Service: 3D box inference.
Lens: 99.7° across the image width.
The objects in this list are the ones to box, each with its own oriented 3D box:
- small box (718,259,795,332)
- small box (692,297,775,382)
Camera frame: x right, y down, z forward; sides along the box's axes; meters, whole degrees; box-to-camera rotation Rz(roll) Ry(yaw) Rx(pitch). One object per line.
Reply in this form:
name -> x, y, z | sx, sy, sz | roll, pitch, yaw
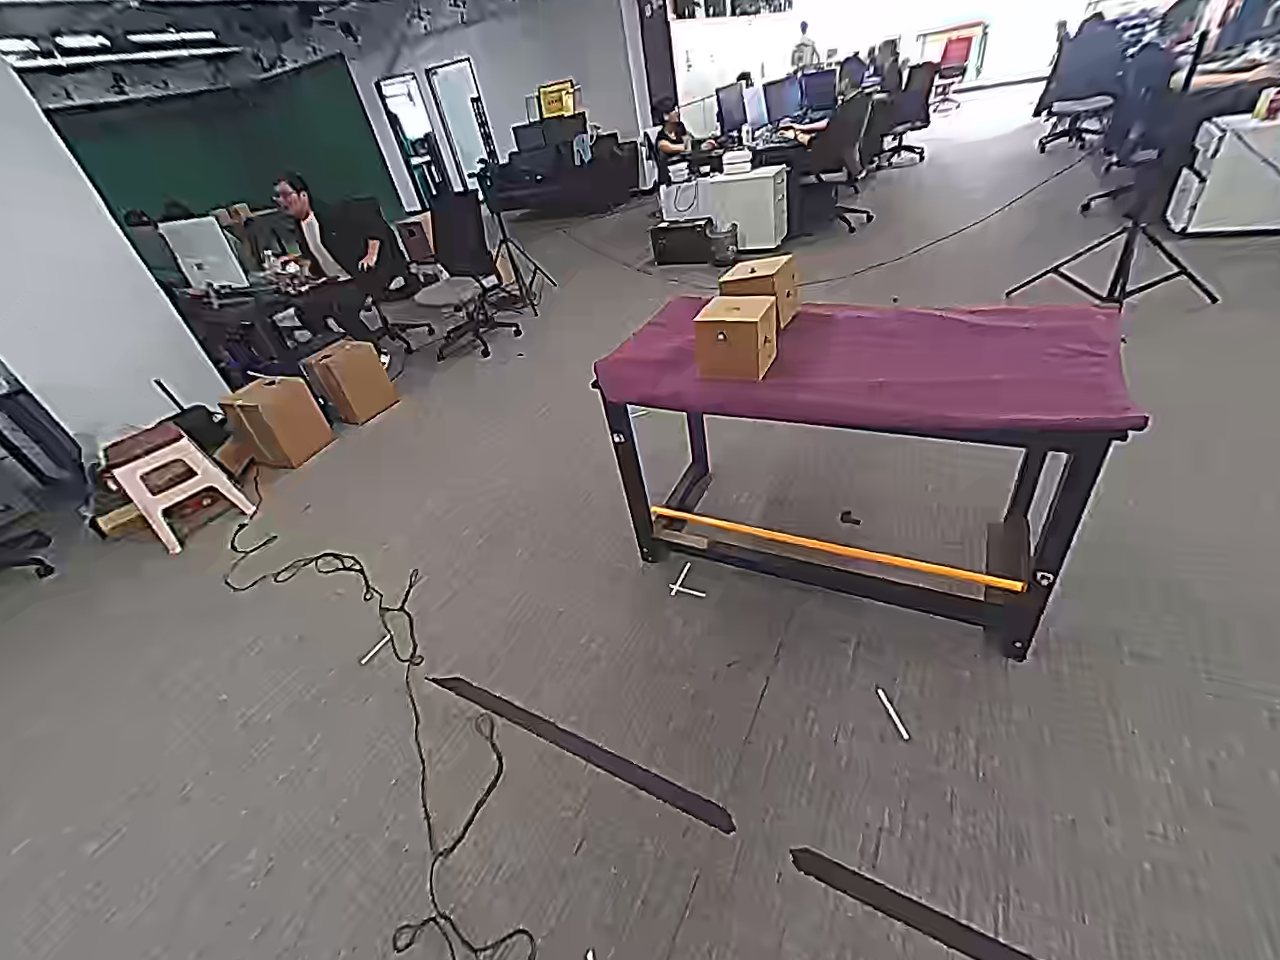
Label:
small box -> 0.358, -0.552, 1.628 | 0.179, 0.168, 0.176 | 6, 38, 35
small box -> 0.257, -0.374, 1.443 | 0.179, 0.176, 0.168 | 9, 41, 27
